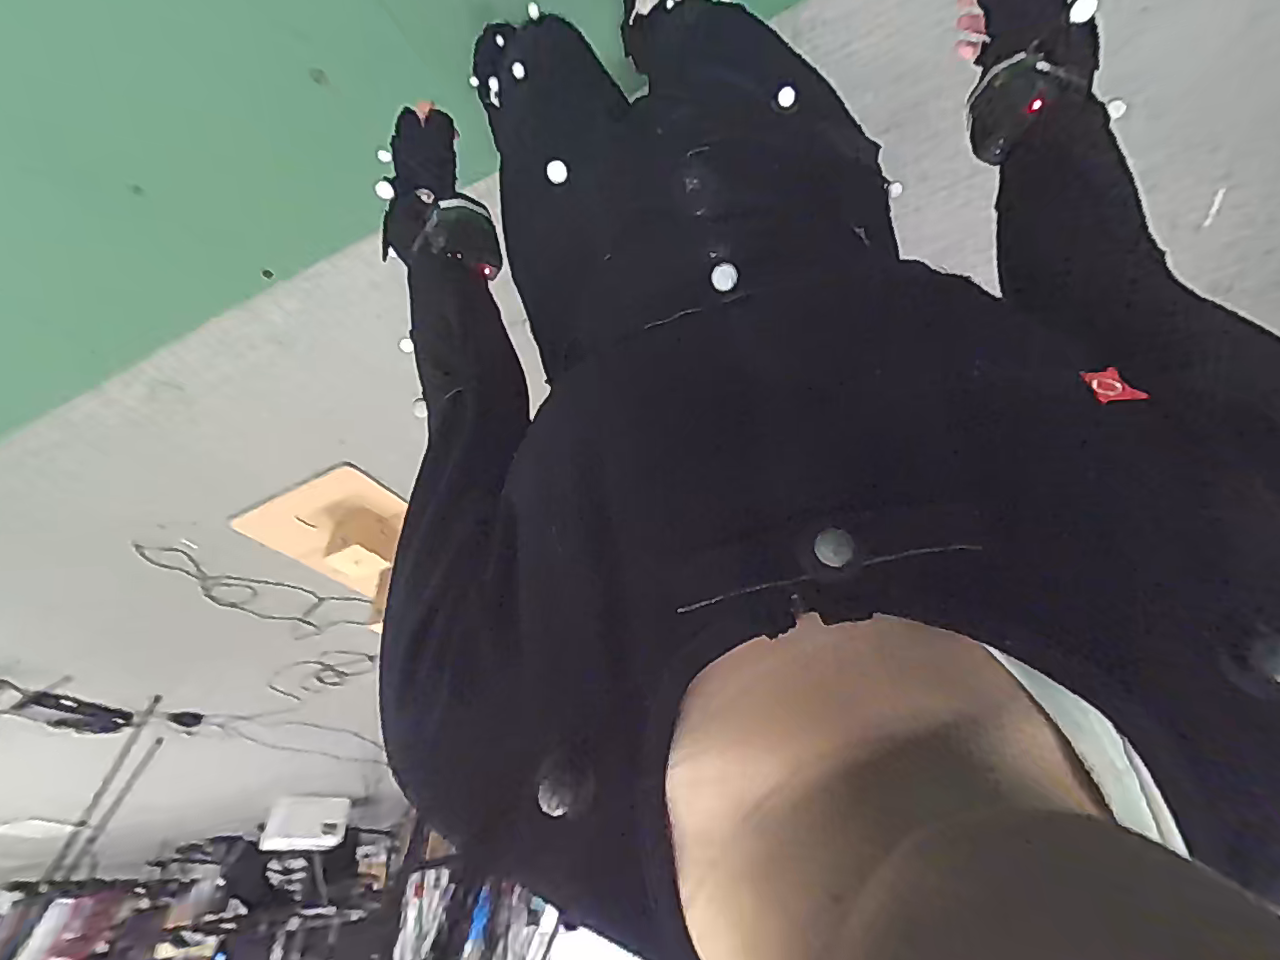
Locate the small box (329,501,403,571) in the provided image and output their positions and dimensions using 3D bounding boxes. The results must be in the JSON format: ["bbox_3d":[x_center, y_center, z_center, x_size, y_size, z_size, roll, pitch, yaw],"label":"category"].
[{"bbox_3d":[-1.018,0.209,2.027,0.179,0.176,0.168,-23,137,17],"label":"small box"}]
